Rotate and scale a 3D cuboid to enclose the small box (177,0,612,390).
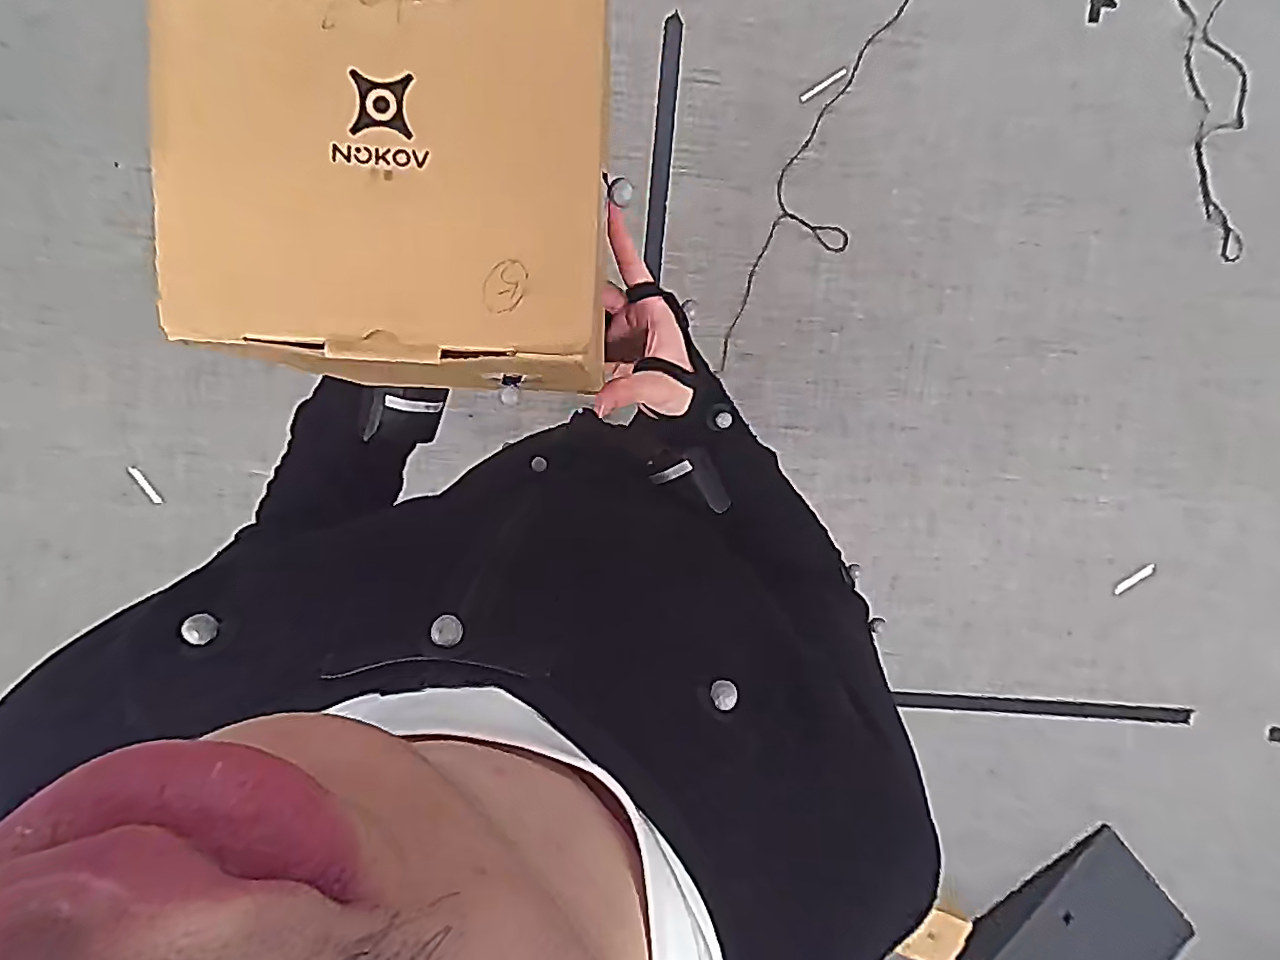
[{"bbox_3d":[-0.102,-0.145,0.296,0.168,0.176,0.179,3,94,-4],"label":"small box"}]
